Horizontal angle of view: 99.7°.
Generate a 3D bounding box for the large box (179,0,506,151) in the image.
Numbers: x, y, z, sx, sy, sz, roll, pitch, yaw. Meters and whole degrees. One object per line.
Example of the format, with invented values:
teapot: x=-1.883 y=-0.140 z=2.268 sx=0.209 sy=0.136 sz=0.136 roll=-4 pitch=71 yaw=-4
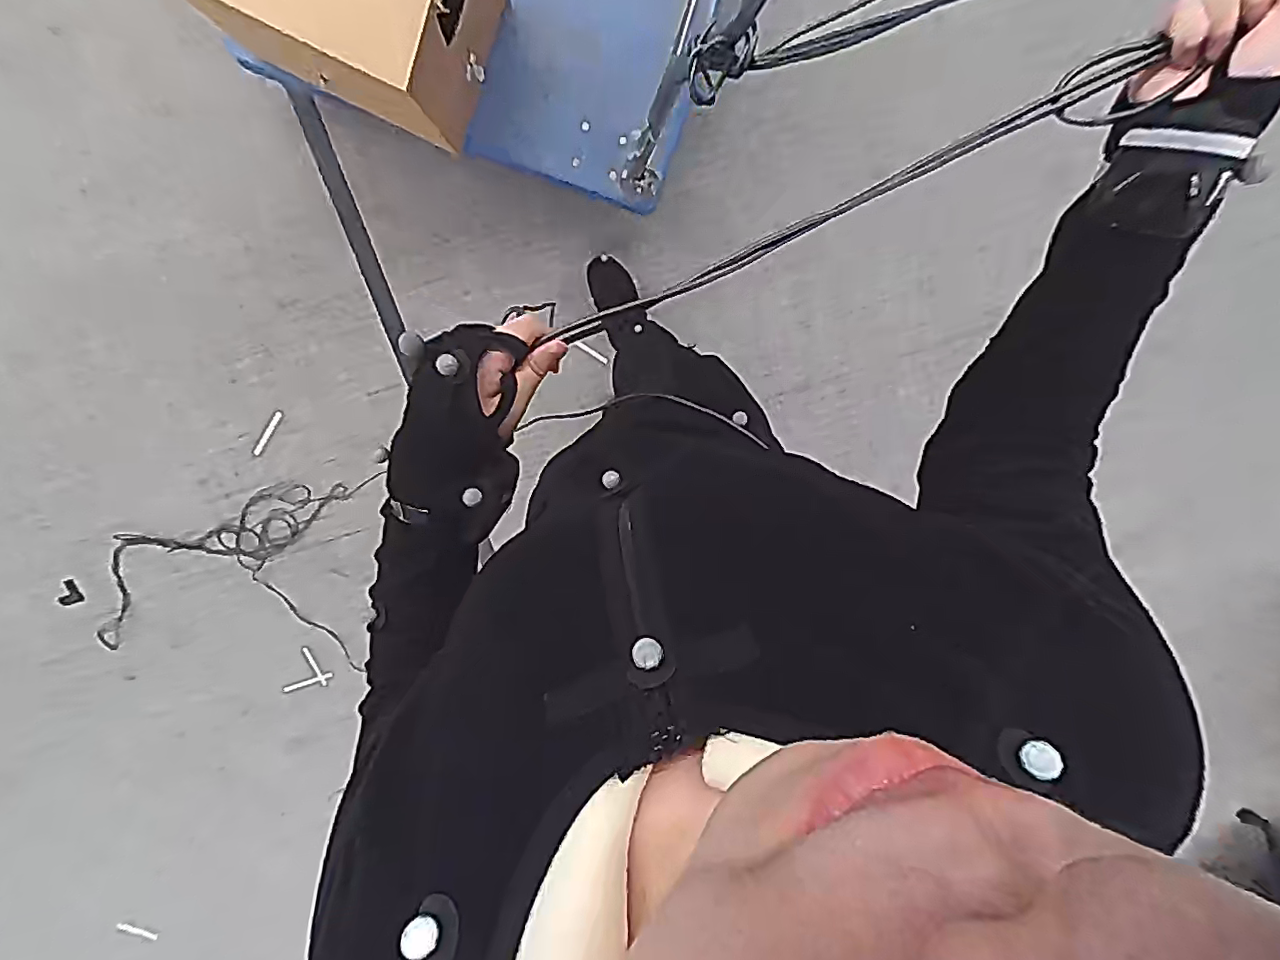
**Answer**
large box: x=-0.475 y=-0.820 z=0.884 sx=0.408 sy=0.320 sz=0.320 roll=22 pitch=102 yaw=-9
